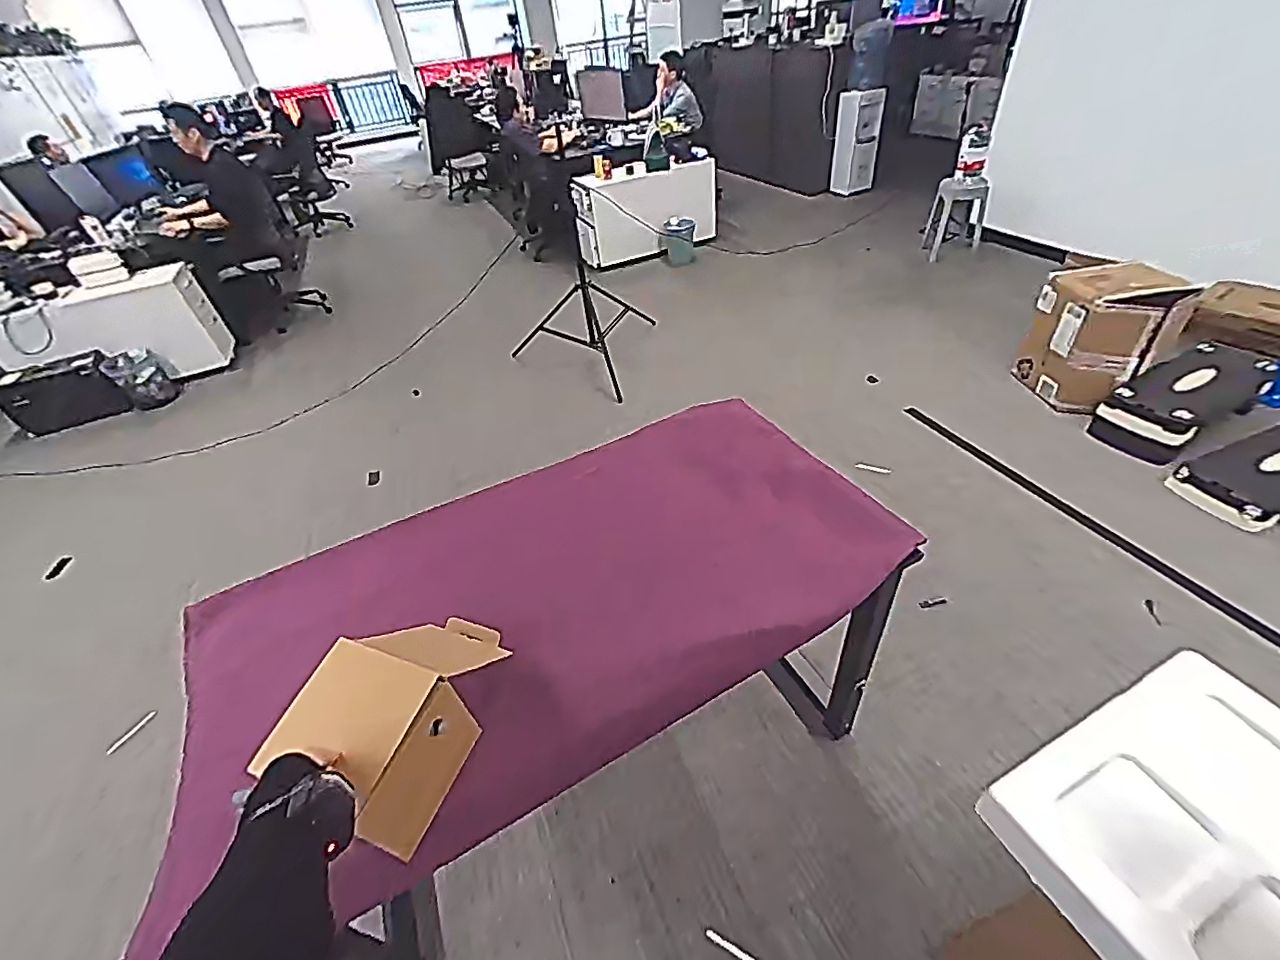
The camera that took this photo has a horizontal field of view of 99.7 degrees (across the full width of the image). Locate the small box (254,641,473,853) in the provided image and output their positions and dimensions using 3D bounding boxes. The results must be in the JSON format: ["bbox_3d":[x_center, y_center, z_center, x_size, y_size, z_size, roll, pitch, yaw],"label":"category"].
[{"bbox_3d":[-0.345,0.353,0.720,0.168,0.176,0.179,12,46,18],"label":"small box"}]
